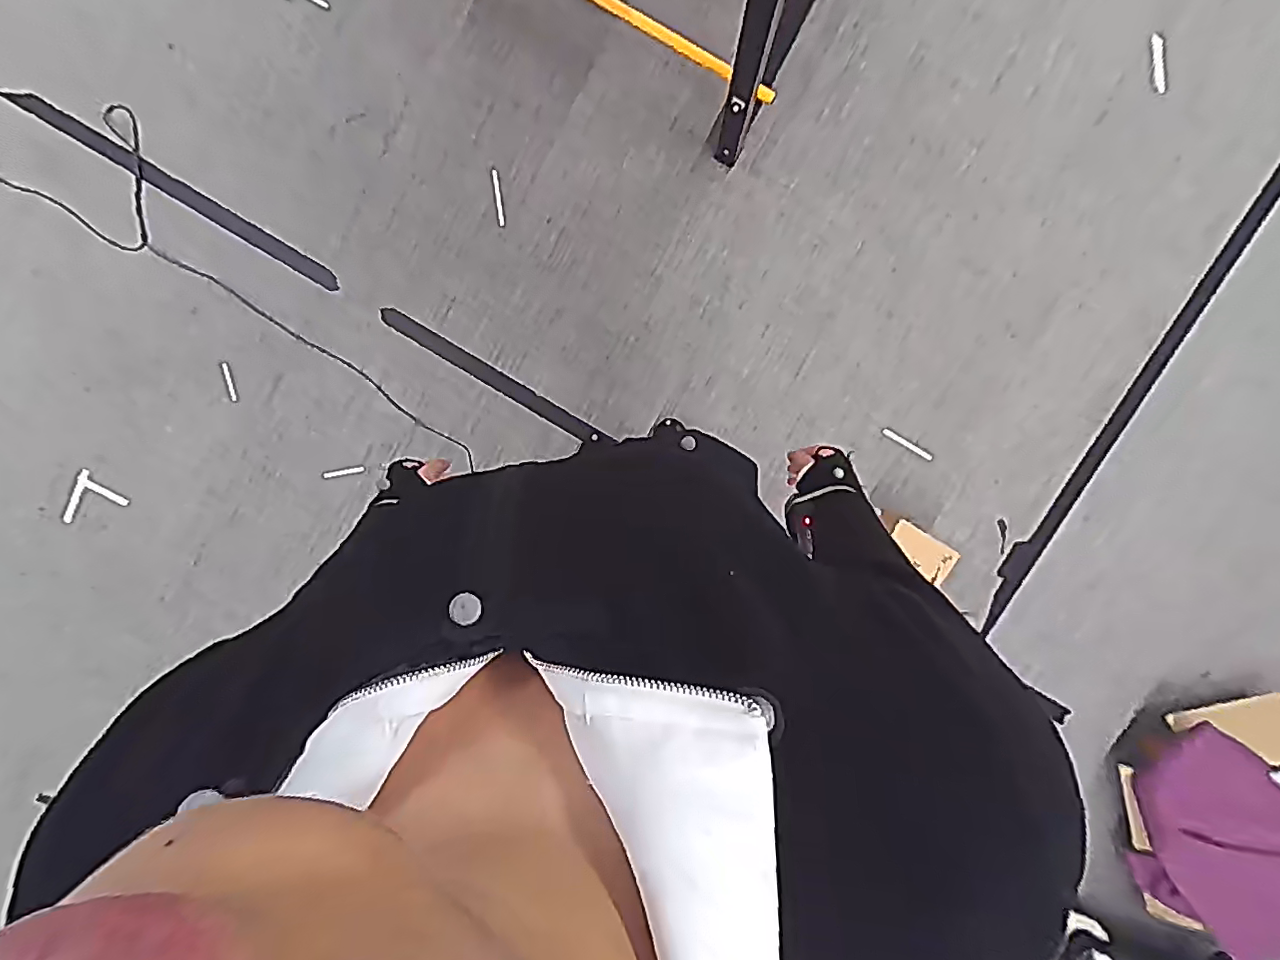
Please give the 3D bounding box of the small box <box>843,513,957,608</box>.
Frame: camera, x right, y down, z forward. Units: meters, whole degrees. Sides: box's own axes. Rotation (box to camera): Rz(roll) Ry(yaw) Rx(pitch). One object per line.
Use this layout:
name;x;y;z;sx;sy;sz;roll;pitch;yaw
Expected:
small box;0.661;0.198;1.402;0.179;0.176;0.168;32;96;-1
